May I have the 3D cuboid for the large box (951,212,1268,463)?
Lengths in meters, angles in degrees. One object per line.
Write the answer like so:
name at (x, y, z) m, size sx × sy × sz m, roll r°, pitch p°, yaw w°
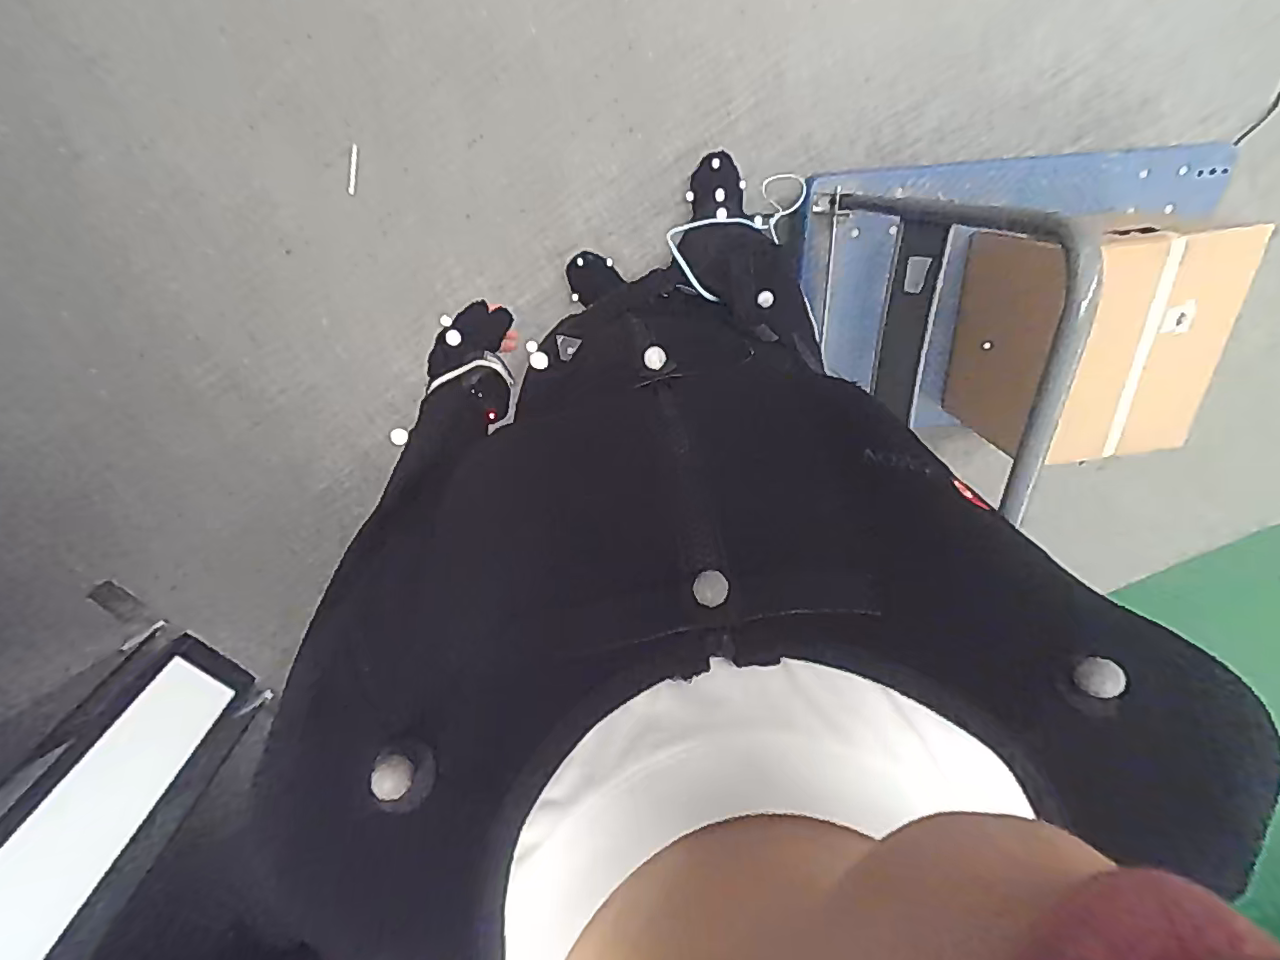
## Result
large box at (0.876, -0.293, 1.089) m, size 0.320 × 0.320 × 0.408 m, roll -8°, pitch 119°, yaw 2°
